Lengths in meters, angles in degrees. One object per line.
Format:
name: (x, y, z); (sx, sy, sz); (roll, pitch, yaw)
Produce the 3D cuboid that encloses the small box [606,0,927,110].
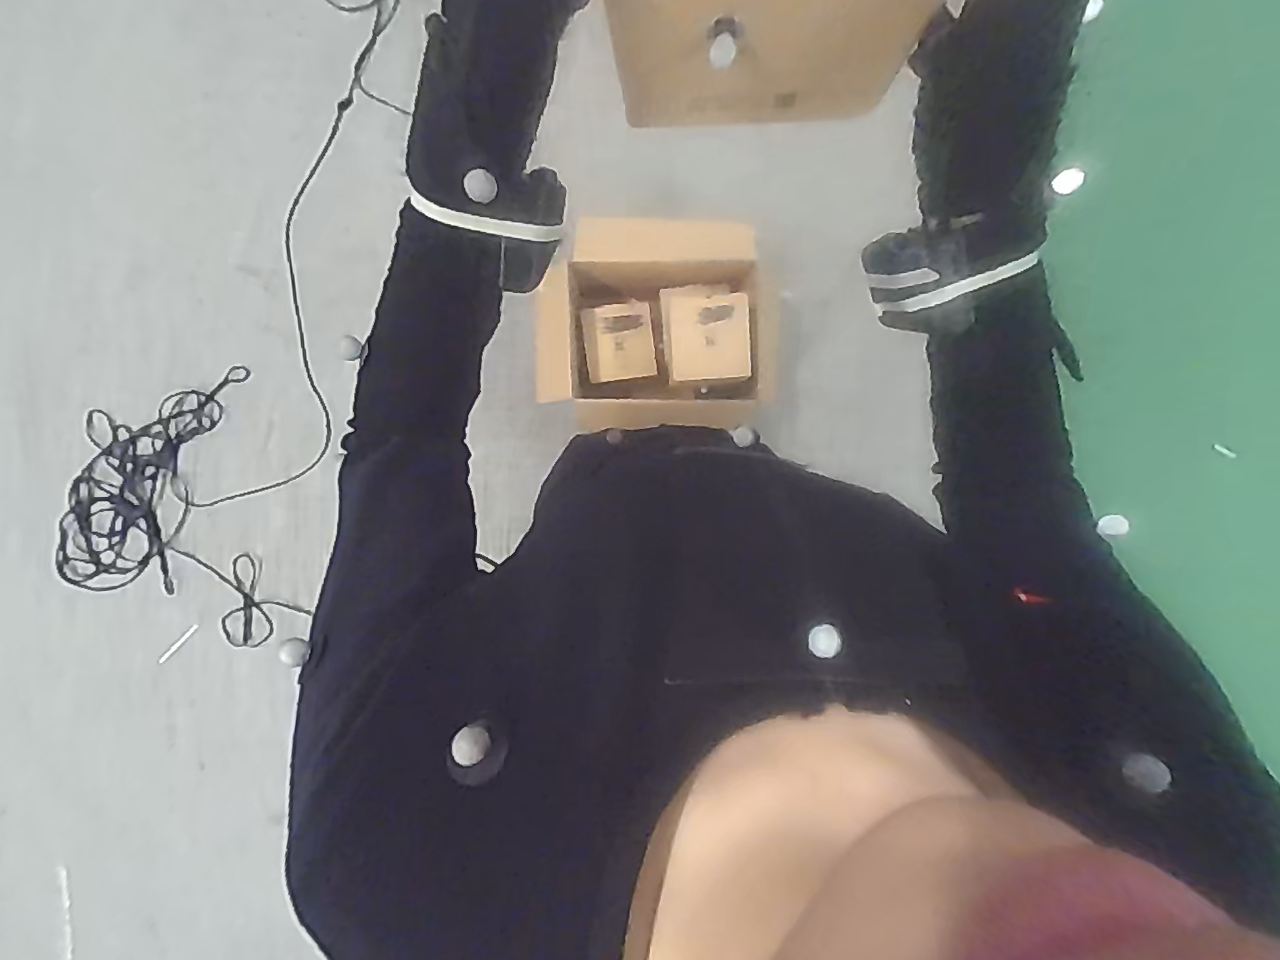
small box: (0.068, -0.319, 0.276); (0.168, 0.176, 0.179); (1, 97, 6)
